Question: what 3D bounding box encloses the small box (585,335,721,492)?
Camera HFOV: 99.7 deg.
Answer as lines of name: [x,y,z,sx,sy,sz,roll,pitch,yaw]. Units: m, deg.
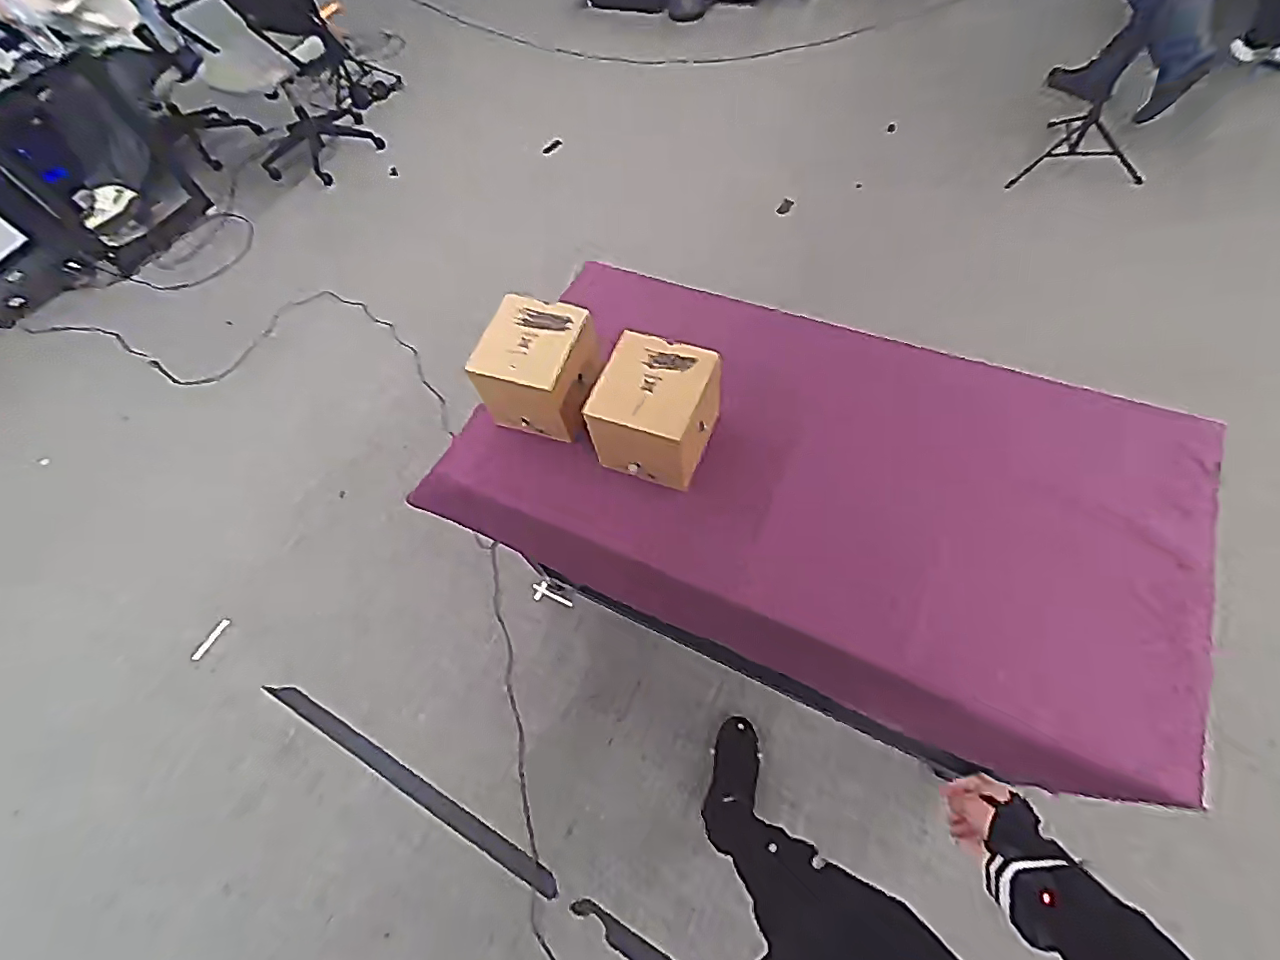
small box: [0.029,-0.109,0.908,0.168,0.176,0.179,17,66,17]
